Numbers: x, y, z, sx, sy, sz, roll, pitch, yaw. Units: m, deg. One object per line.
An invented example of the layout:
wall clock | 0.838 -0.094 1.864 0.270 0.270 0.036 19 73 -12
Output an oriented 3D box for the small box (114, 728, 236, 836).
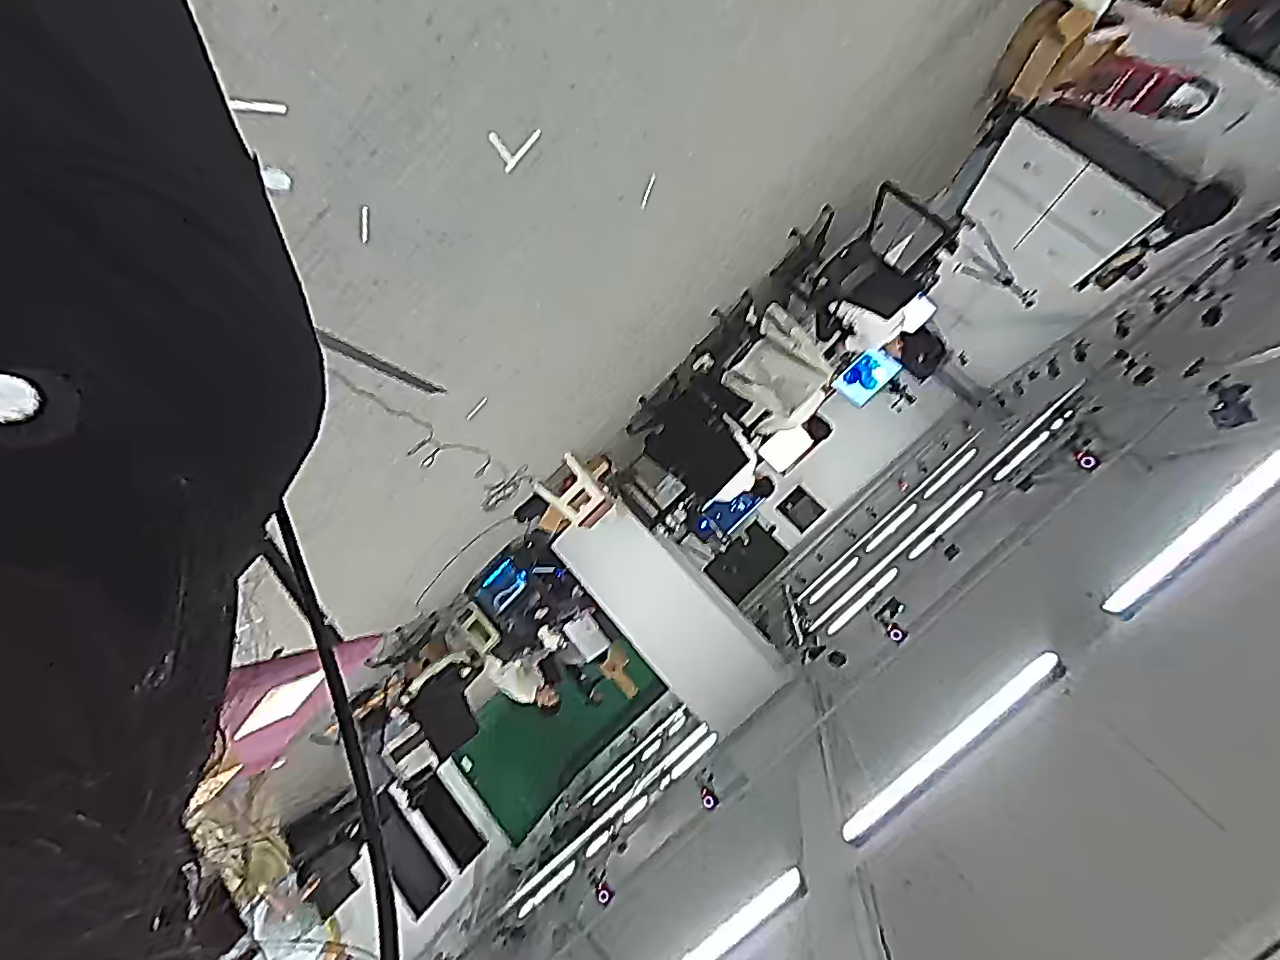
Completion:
small box | -1.309 0.839 1.520 0.168 0.176 0.179 -45 166 6
